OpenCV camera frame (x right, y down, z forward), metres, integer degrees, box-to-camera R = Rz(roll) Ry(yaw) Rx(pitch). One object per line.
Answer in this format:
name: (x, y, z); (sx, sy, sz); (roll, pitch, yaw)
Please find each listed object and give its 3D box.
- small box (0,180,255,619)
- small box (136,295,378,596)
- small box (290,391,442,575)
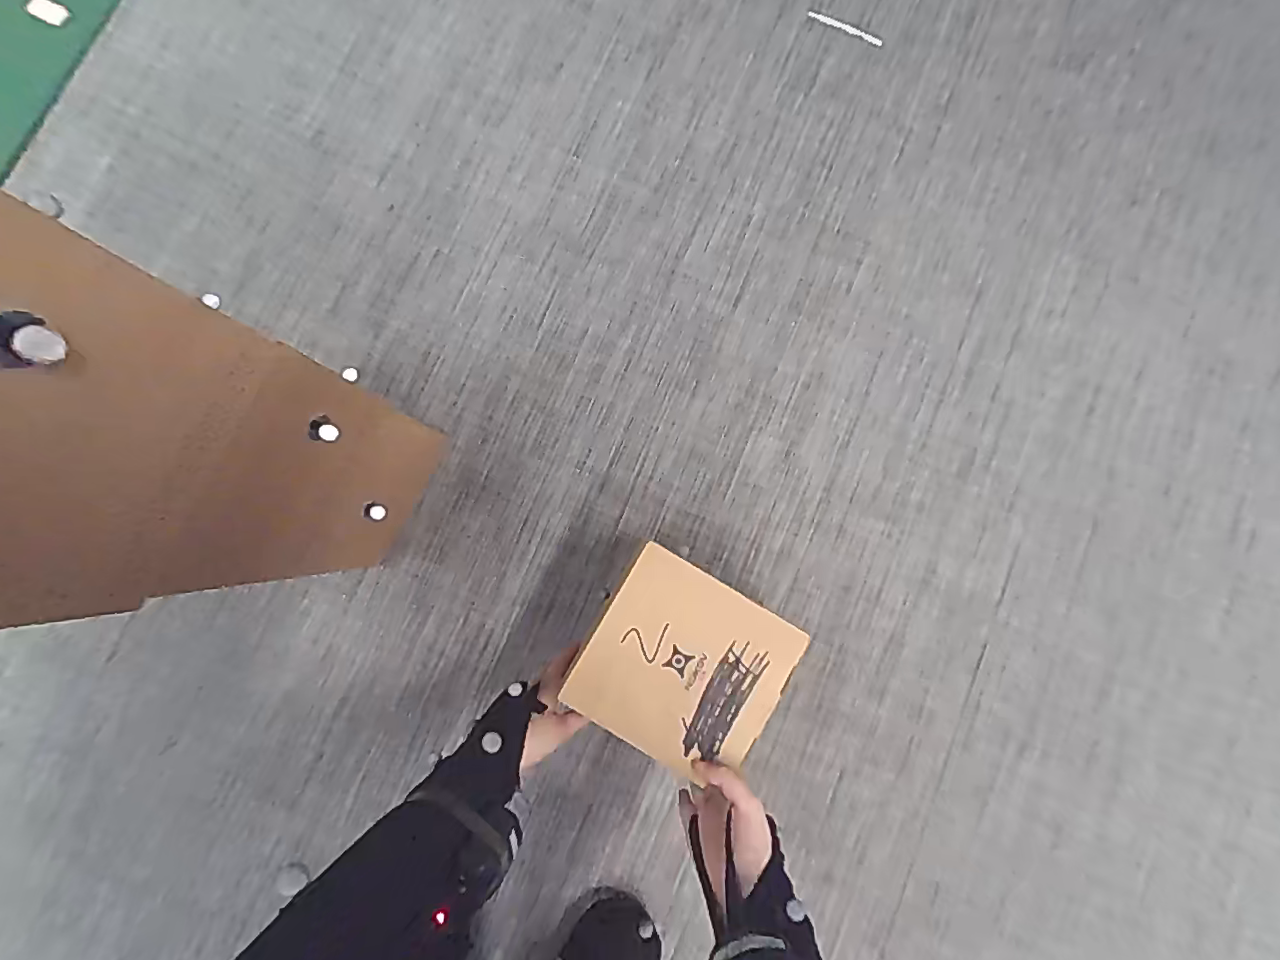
small box: (-0.326, -0.048, 0.243); (0.168, 0.176, 0.179); (24, 84, 2)
small box: (-0.332, -0.034, 0.408); (0.168, 0.176, 0.179); (23, 85, 2)
small box: (-0.338, -0.019, 0.569); (0.168, 0.176, 0.179); (27, 84, 1)
